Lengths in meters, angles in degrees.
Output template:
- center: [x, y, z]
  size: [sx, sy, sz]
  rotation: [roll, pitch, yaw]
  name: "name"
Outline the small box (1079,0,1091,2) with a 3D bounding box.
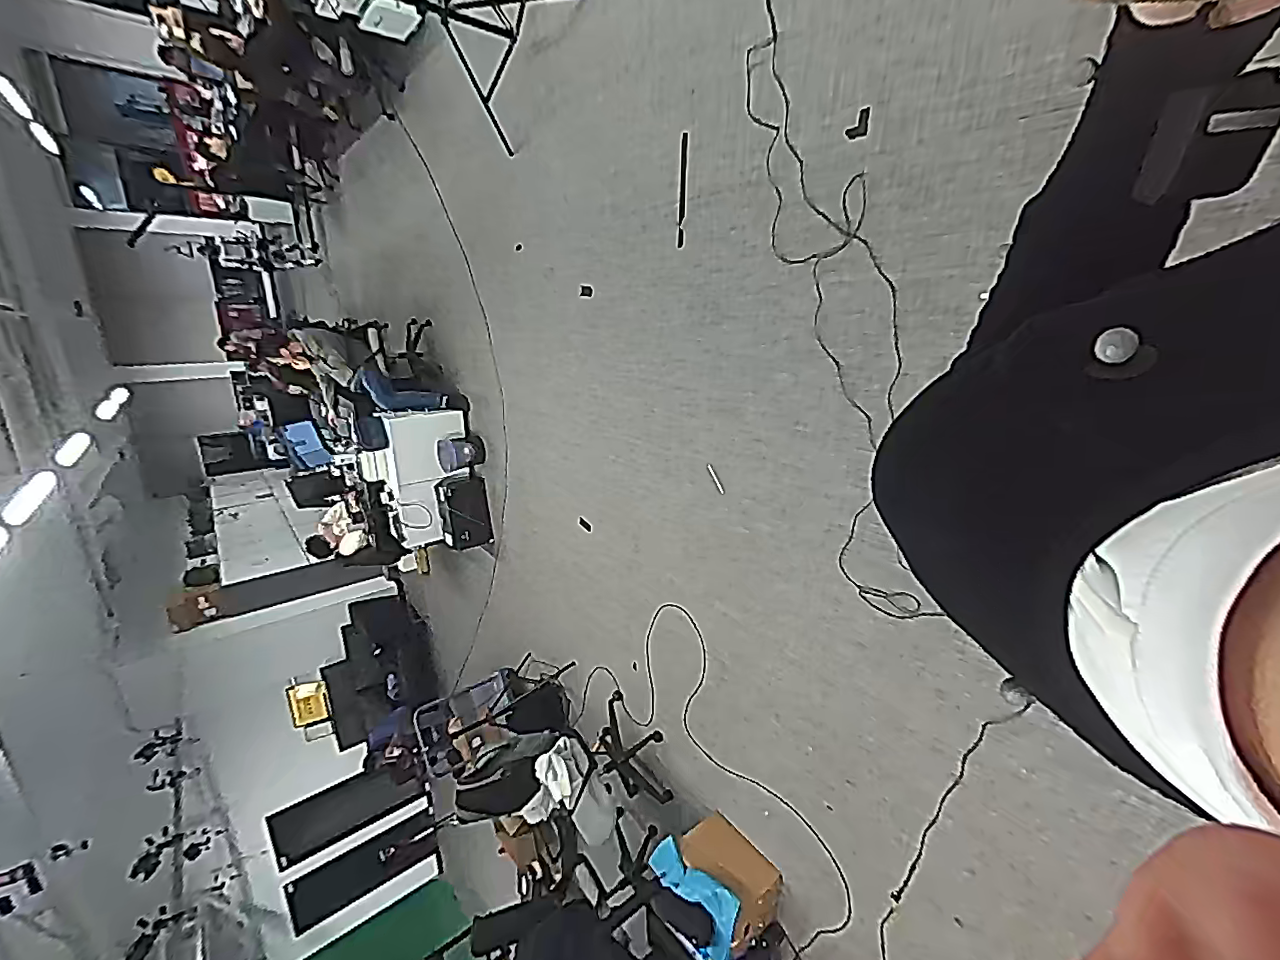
- center: [0.268, -0.257, 0.140]
  size: [0.179, 0.176, 0.168]
  rotation: [31, 139, 52]
  name: "small box"
